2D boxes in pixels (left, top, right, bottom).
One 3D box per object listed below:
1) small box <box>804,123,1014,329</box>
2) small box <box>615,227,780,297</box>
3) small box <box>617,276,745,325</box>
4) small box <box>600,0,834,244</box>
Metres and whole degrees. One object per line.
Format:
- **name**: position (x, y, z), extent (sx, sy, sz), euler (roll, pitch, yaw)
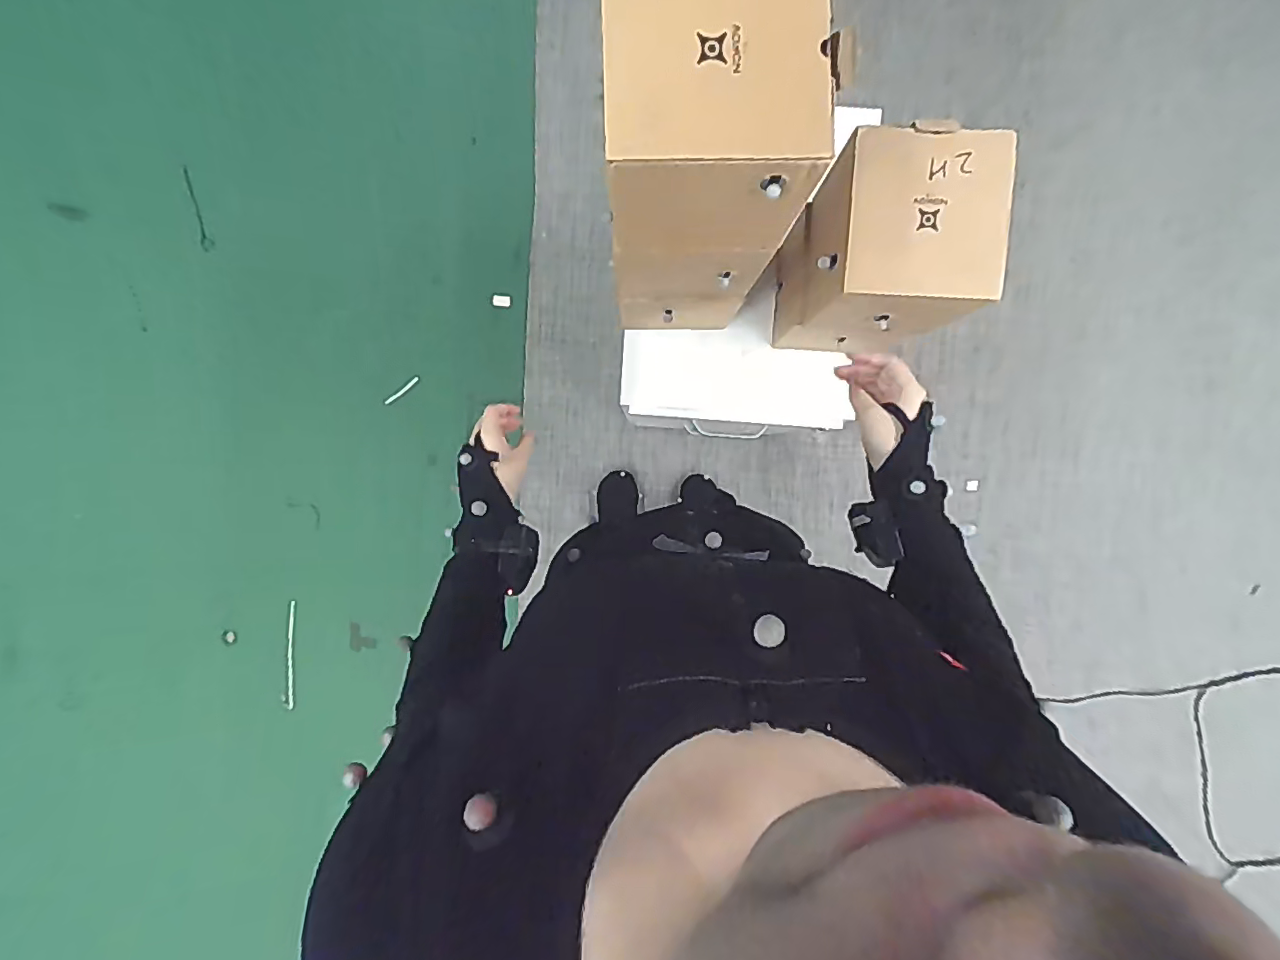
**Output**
- **small box**: position (0.303, -0.286, 0.646), extent (0.168, 0.176, 0.179), euler (3, 93, 1)
- **small box**: position (0.058, -0.328, 0.648), extent (0.179, 0.176, 0.168), euler (-2, 91, 0)
- **small box**: position (0.057, -0.334, 0.812), extent (0.179, 0.176, 0.168), euler (-1, 93, -1)
- **small box**: position (0.058, -0.326, 0.485), extent (0.179, 0.176, 0.168), euler (-2, 92, -1)
